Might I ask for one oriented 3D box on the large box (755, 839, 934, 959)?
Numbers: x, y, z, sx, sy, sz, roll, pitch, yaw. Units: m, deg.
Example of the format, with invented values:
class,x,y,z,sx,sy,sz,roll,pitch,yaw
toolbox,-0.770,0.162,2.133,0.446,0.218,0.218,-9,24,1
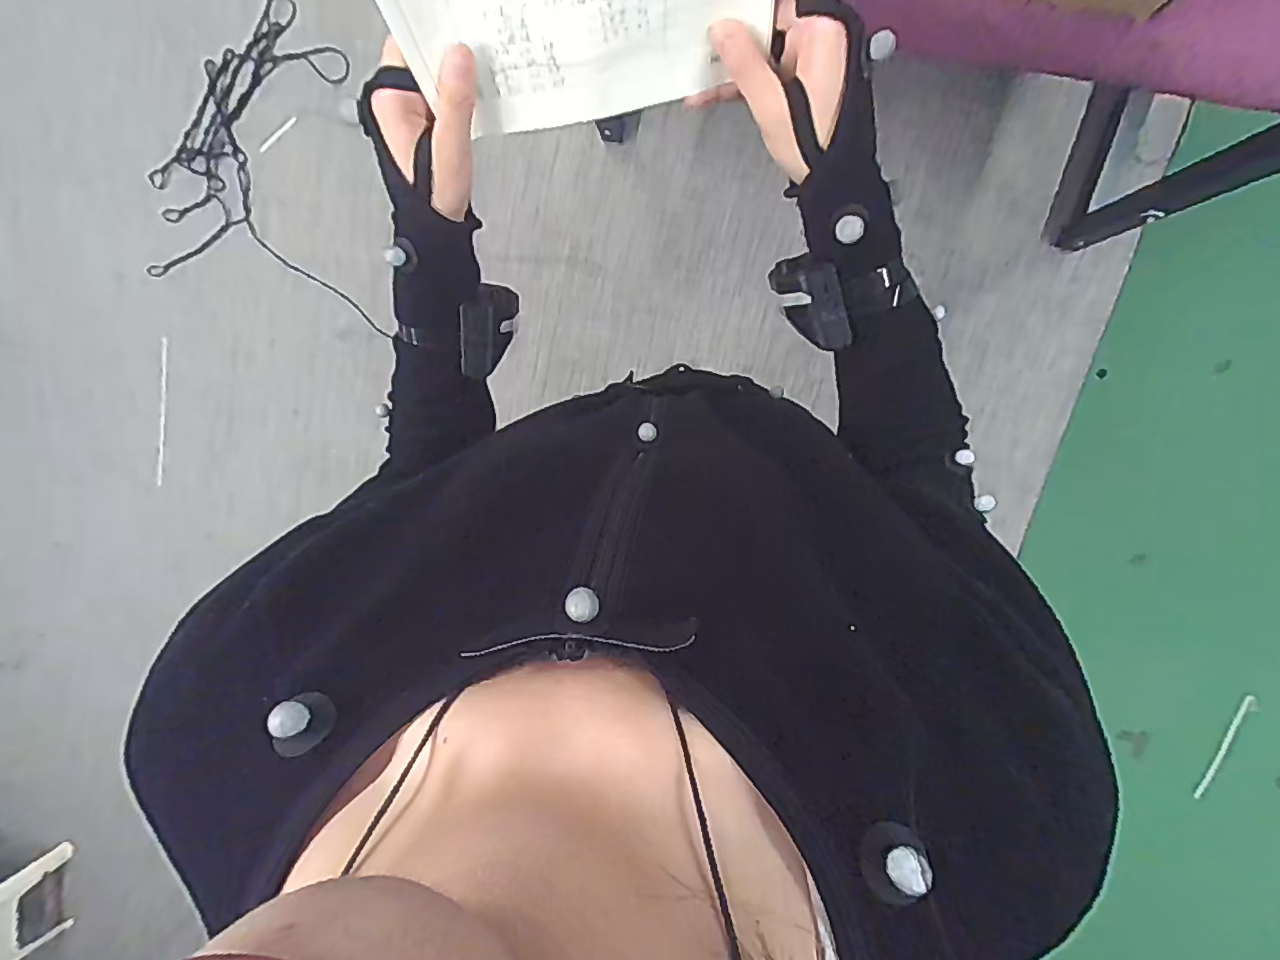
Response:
class,x,y,z,sx,sy,sz,roll,pitch,yaw
large box,0.537,1.264,1.507,0.408,0.320,0.320,0,100,6
